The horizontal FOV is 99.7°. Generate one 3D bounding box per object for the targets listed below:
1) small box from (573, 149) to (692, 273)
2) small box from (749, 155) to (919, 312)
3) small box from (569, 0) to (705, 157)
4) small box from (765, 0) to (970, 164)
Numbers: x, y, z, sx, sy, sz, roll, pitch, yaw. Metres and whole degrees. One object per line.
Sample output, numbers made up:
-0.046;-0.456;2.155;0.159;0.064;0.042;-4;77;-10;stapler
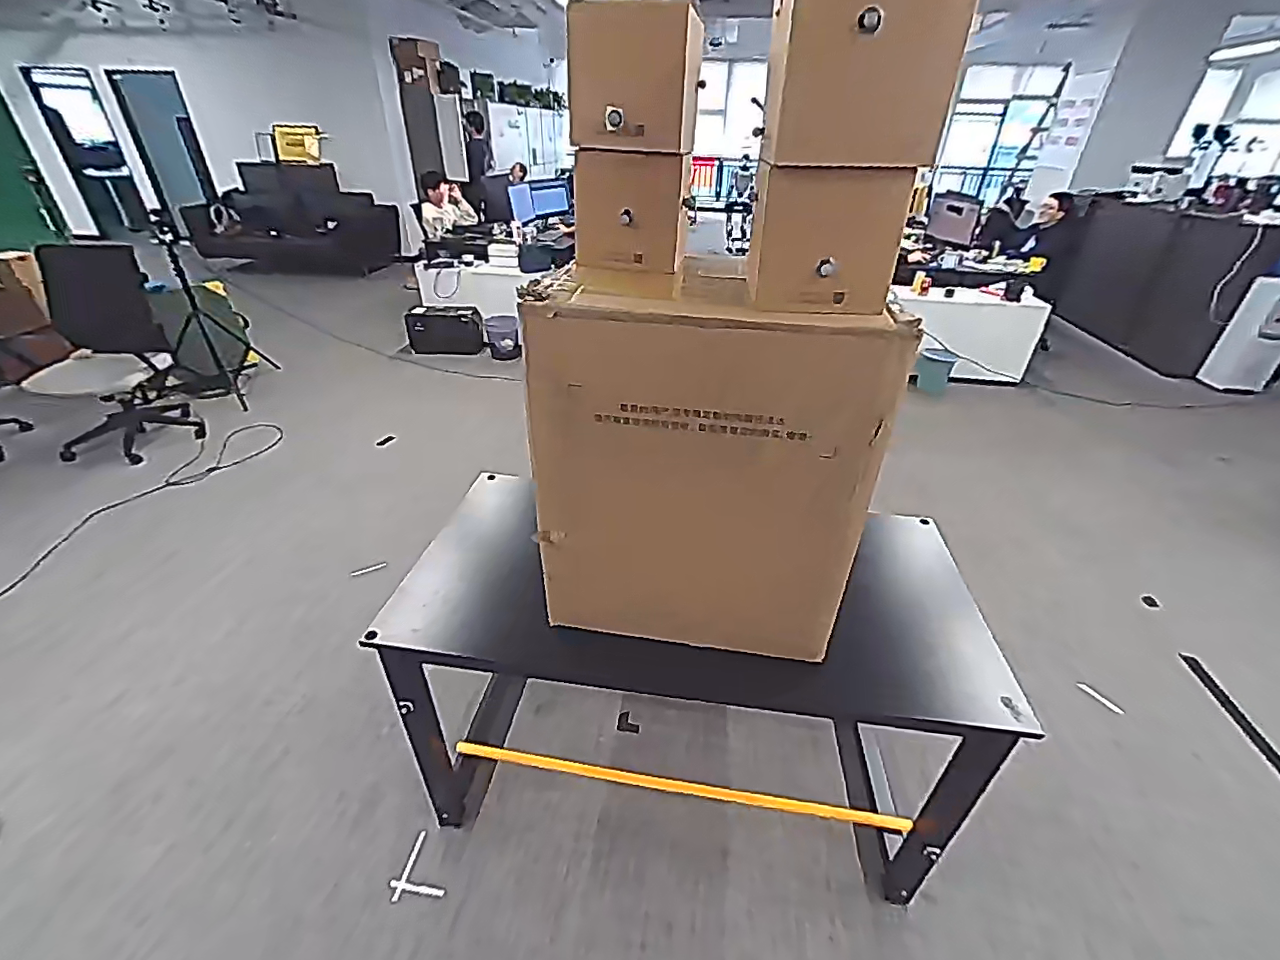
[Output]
-0.007;-0.449;0.896;0.168;0.176;0.179;7;33;6;small box
0.240;-0.333;0.722;0.168;0.176;0.179;2;33;5;small box
-0.001;-0.579;0.795;0.168;0.176;0.179;7;33;8;small box
0.241;-0.458;0.613;0.179;0.176;0.168;3;34;3;small box
